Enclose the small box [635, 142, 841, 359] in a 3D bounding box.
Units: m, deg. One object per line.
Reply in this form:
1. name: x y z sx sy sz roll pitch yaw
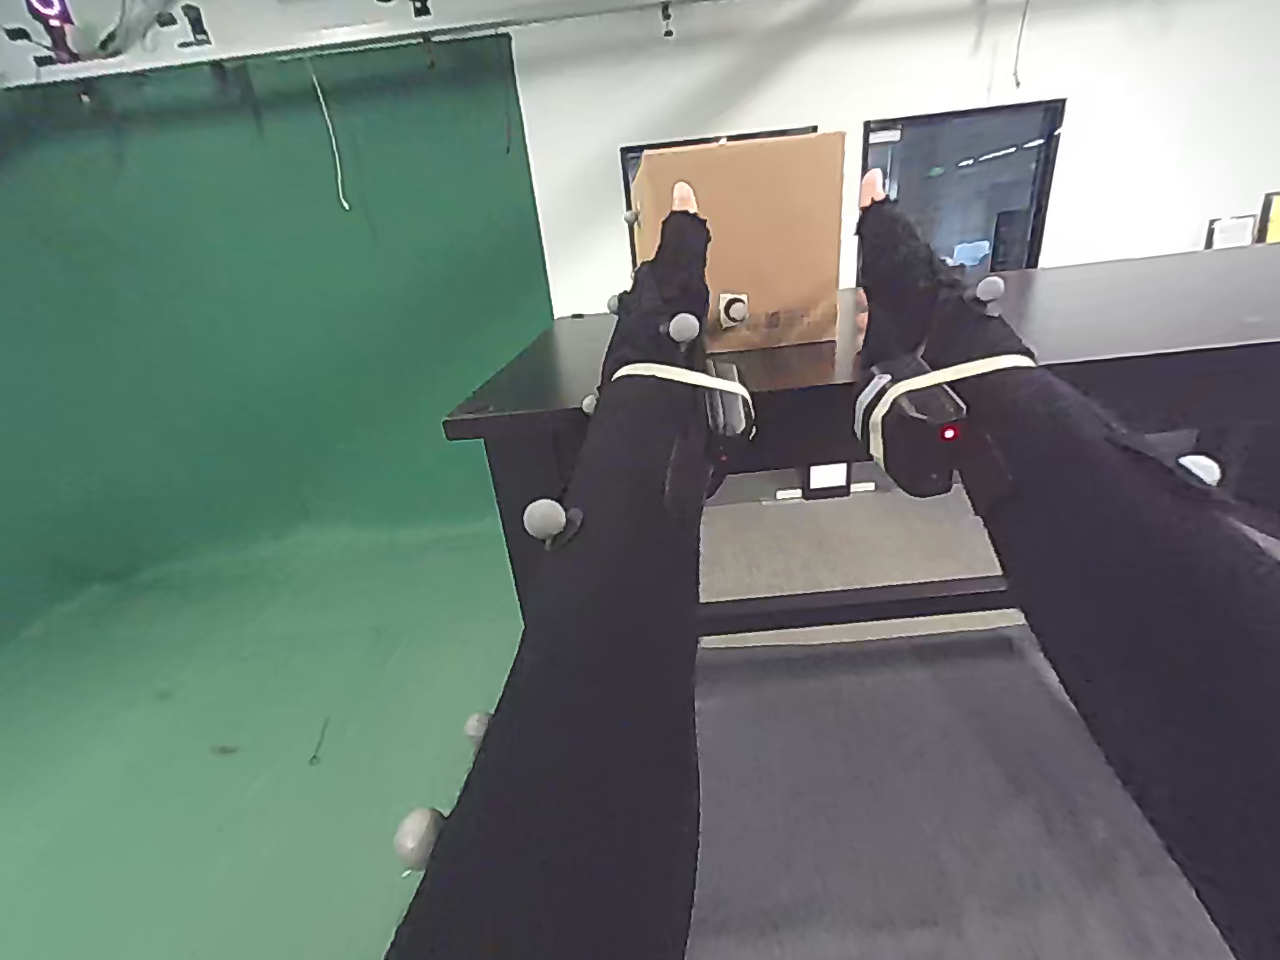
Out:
1. small box: 0.086 -0.223 0.546 0.168 0.176 0.179 -7 24 -1
